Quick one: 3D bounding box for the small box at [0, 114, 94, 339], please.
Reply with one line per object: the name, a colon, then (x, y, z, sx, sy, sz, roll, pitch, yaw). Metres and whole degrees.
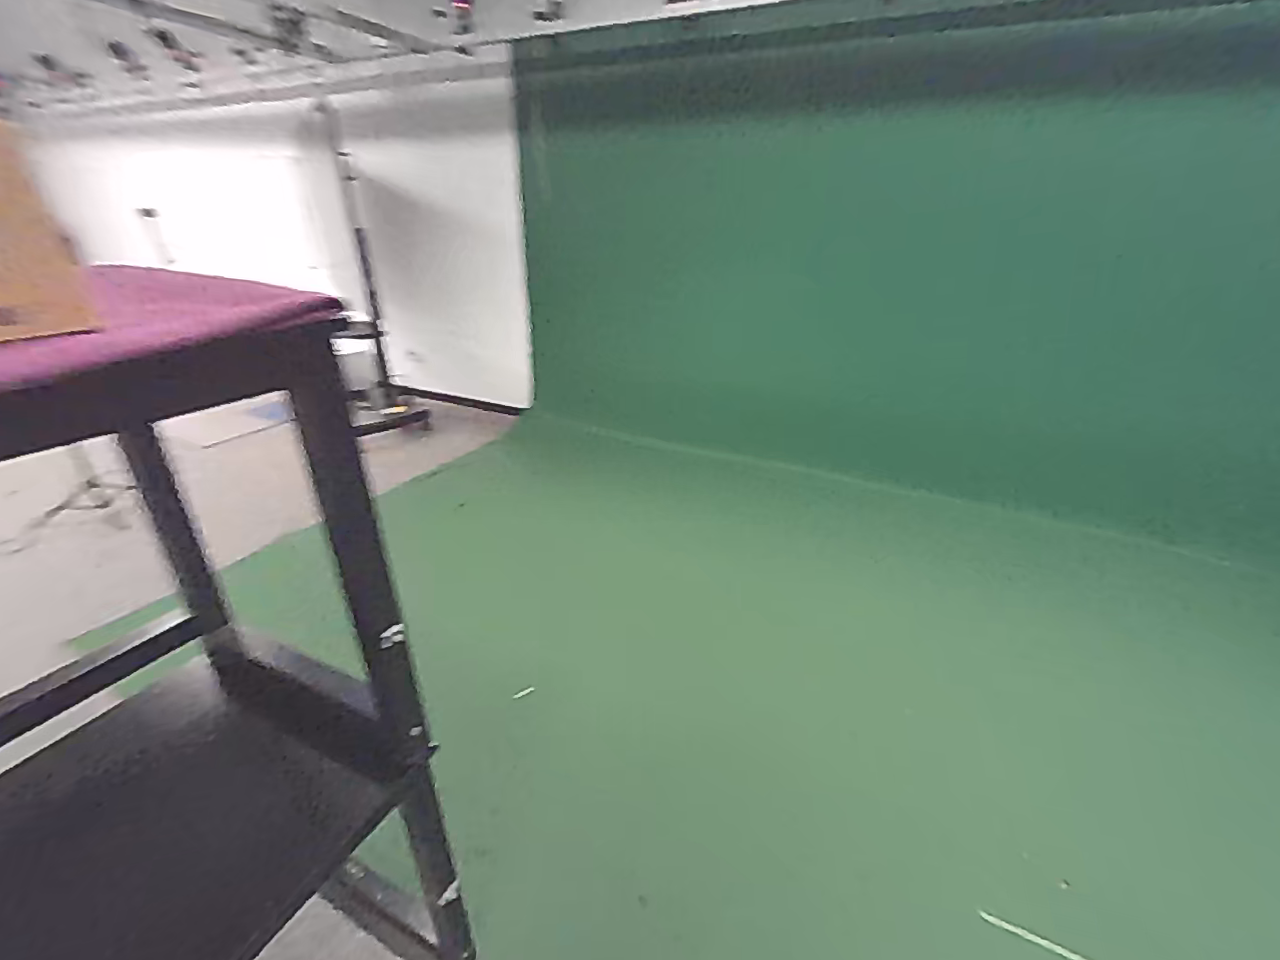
small box: (-0.613, -0.204, 0.446, 0.179, 0.176, 0.168, 15, 31, 30)
